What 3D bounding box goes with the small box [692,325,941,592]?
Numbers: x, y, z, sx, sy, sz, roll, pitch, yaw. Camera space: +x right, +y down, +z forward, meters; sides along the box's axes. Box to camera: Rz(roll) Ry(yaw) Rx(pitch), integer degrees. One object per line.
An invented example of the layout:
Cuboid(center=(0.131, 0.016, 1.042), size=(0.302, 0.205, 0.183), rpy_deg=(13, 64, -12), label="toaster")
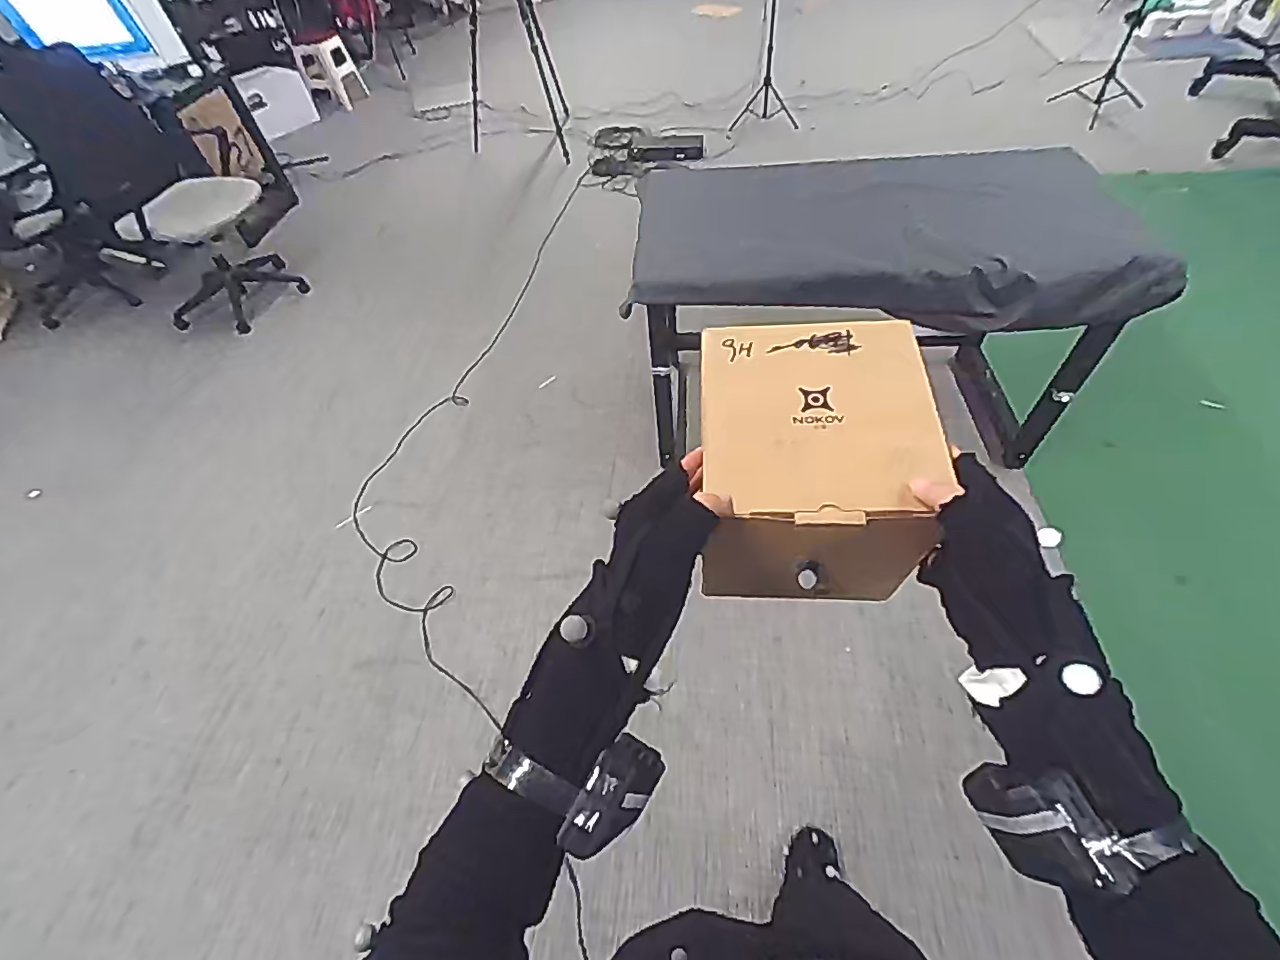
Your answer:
Cuboid(center=(0.133, -0.008, 0.472), size=(0.168, 0.176, 0.179), rpy_deg=(-1, 60, 7), label="small box")
